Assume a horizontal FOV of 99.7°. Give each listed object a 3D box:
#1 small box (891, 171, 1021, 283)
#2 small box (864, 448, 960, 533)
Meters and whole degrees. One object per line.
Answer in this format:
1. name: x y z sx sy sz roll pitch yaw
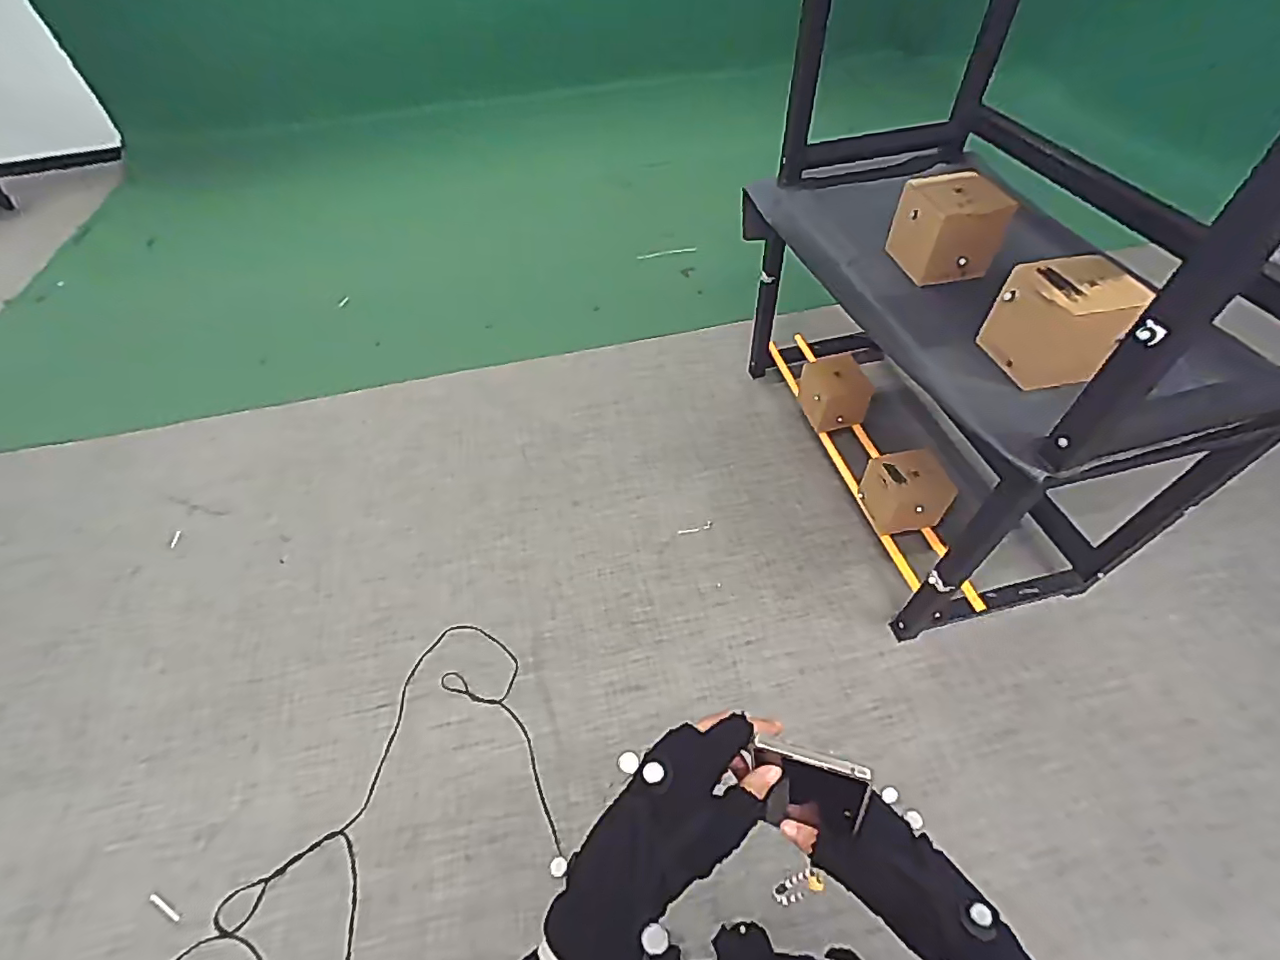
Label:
1. small box: 0.709 -0.579 1.239 0.168 0.176 0.179 -10 52 -3
2. small box: 0.763 0.034 1.545 0.179 0.176 0.168 -10 52 -3
